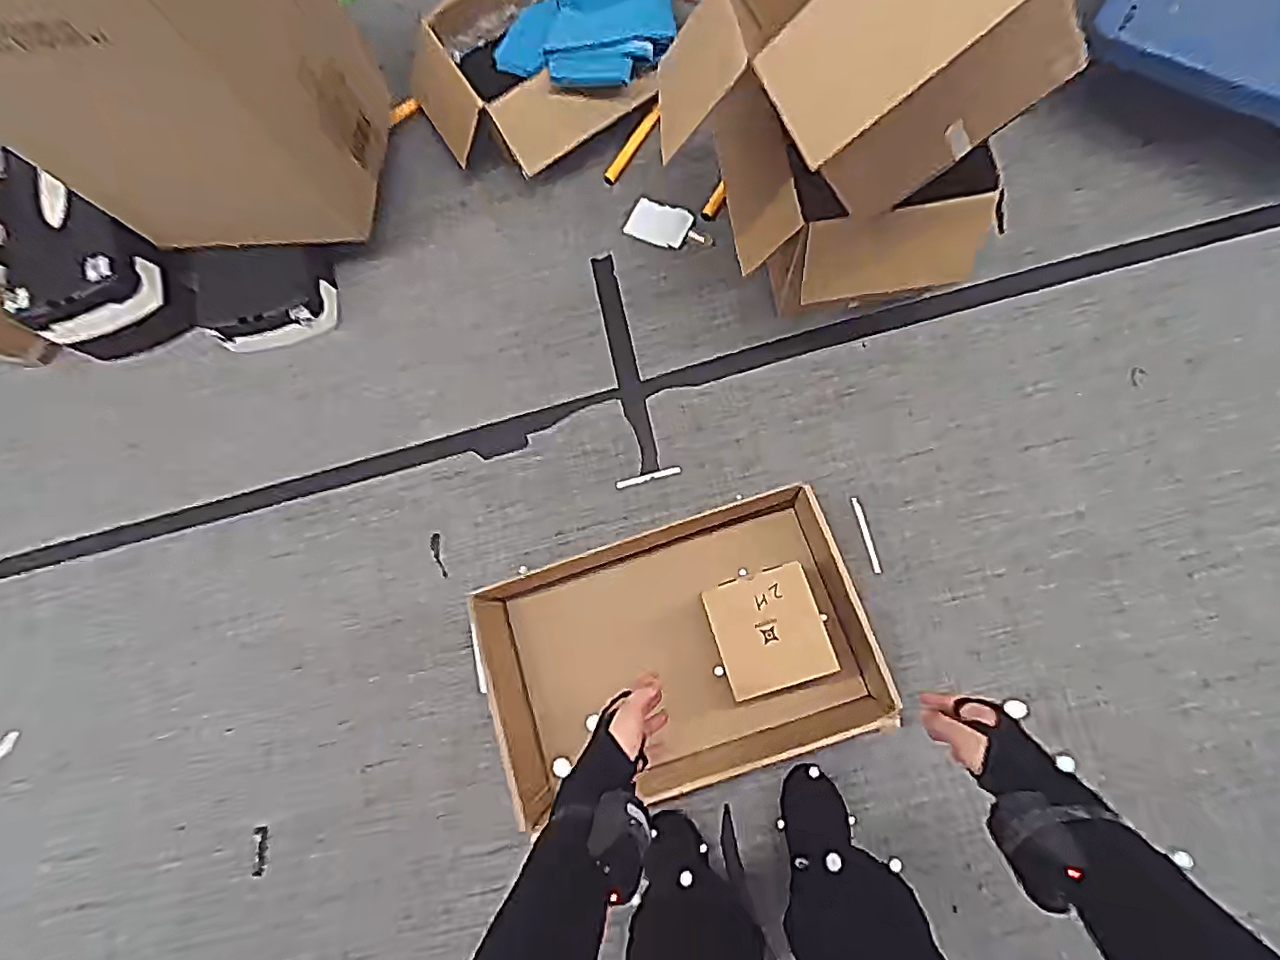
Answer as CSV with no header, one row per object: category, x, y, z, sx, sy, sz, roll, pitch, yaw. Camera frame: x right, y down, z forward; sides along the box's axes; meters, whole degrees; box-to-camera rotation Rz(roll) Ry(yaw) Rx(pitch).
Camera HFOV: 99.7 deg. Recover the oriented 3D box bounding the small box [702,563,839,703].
small box,0.208,0.249,0.905,0.168,0.176,0.179,-18,75,2
